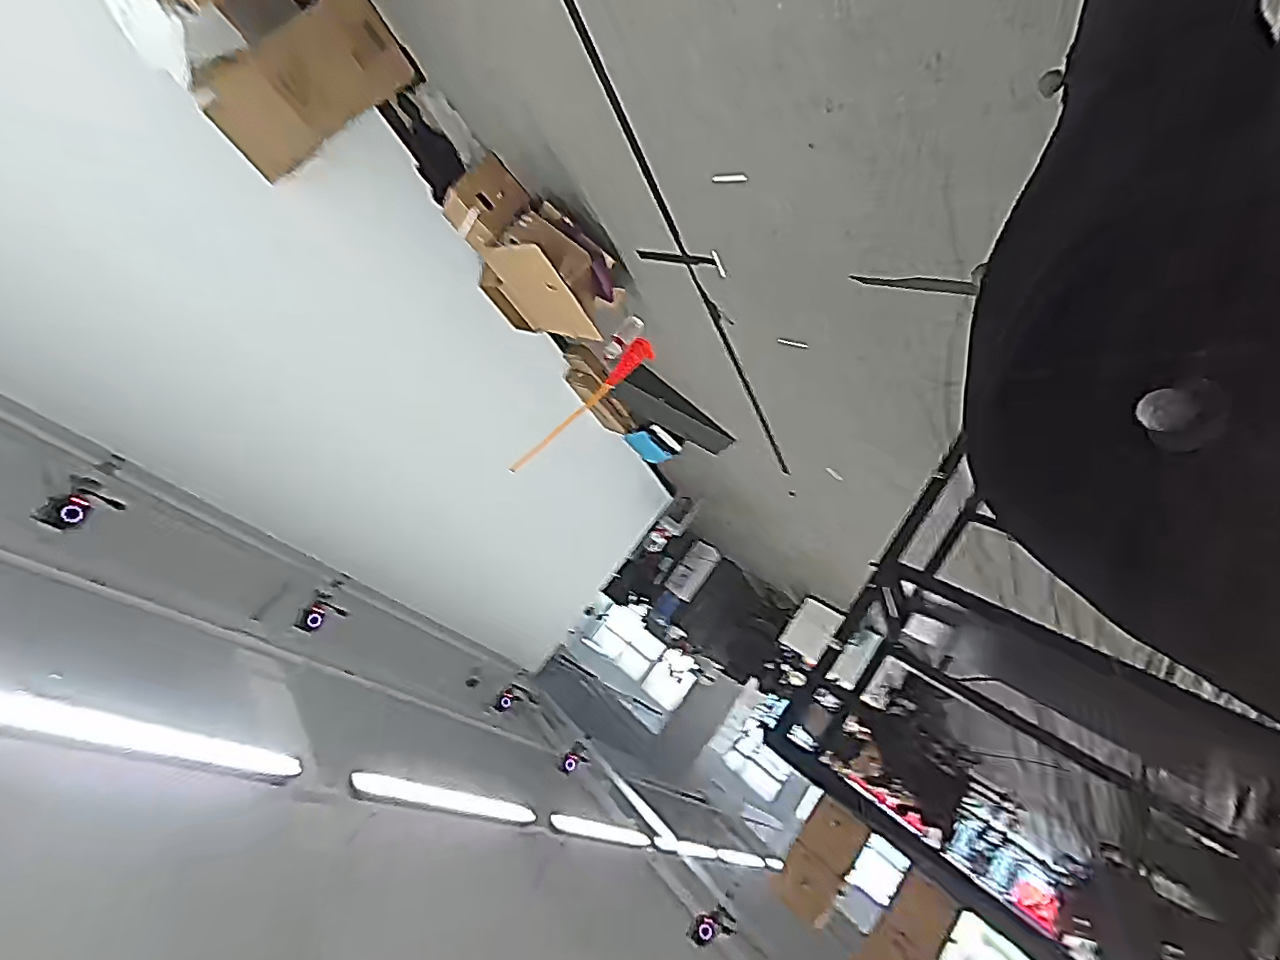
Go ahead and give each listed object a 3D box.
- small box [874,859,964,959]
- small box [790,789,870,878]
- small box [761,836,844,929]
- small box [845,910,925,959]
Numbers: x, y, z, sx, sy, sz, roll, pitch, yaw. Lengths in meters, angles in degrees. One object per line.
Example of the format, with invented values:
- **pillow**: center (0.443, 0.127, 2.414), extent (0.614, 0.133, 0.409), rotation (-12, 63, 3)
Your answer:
- **small box**: center (0.787, 1.204, 1.520), extent (0.168, 0.176, 0.179), rotation (28, 166, 42)
- **small box**: center (0.606, 1.110, 1.704), extent (0.168, 0.176, 0.179), rotation (27, 164, 41)
- **small box**: center (0.506, 1.236, 1.673), extent (0.168, 0.176, 0.179), rotation (28, 164, 40)
- **small box**: center (0.689, 1.331, 1.491), extent (0.168, 0.176, 0.179), rotation (27, 164, 41)
